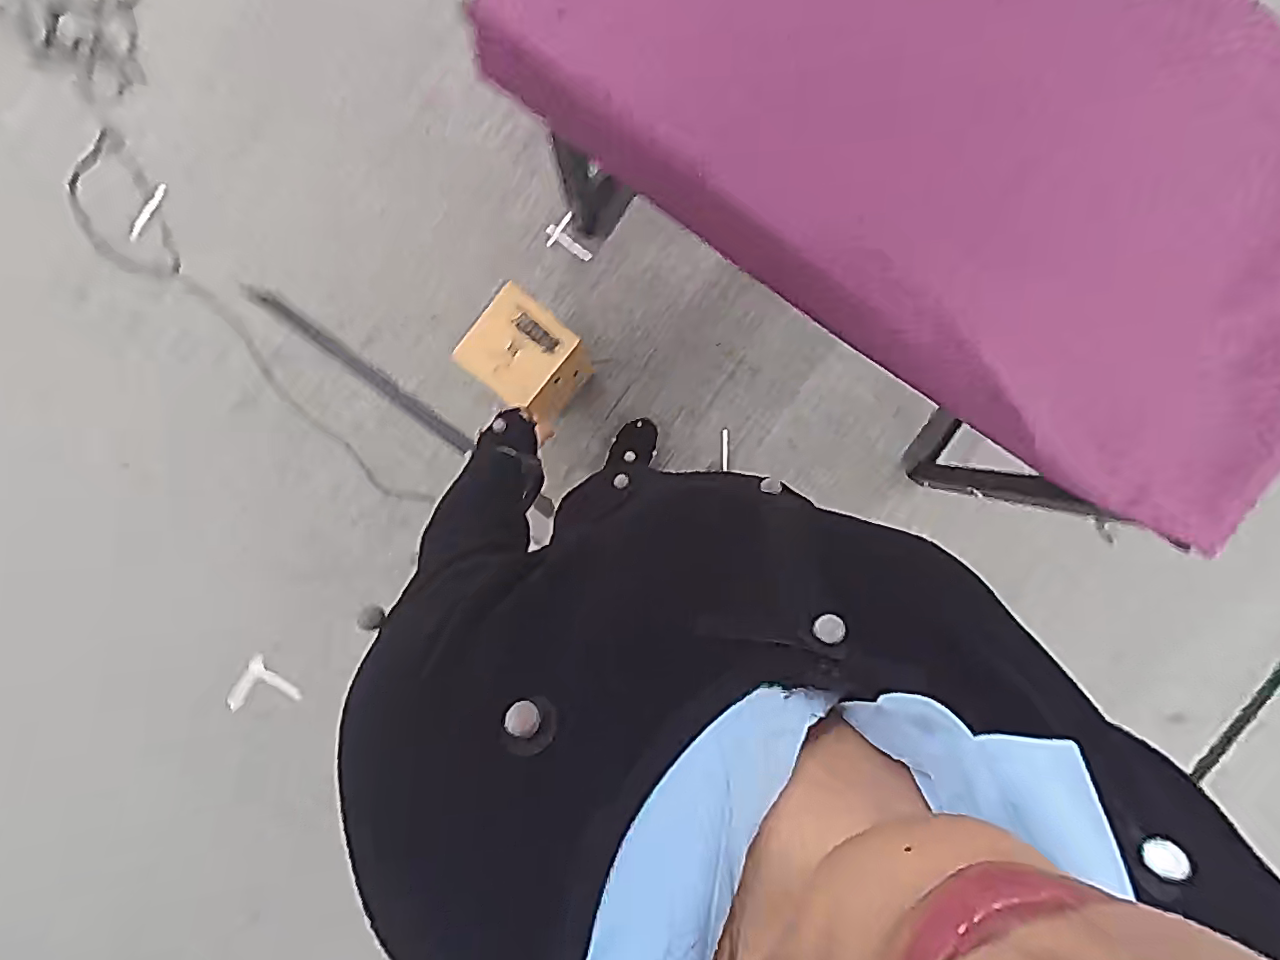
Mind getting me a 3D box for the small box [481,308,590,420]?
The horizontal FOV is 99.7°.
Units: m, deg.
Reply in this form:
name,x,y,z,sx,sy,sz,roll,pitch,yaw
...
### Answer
name,x,y,z,sx,sy,sz,roll,pitch,yaw
small box,-0.225,-0.253,1.218,0.168,0.176,0.179,38,94,-4
